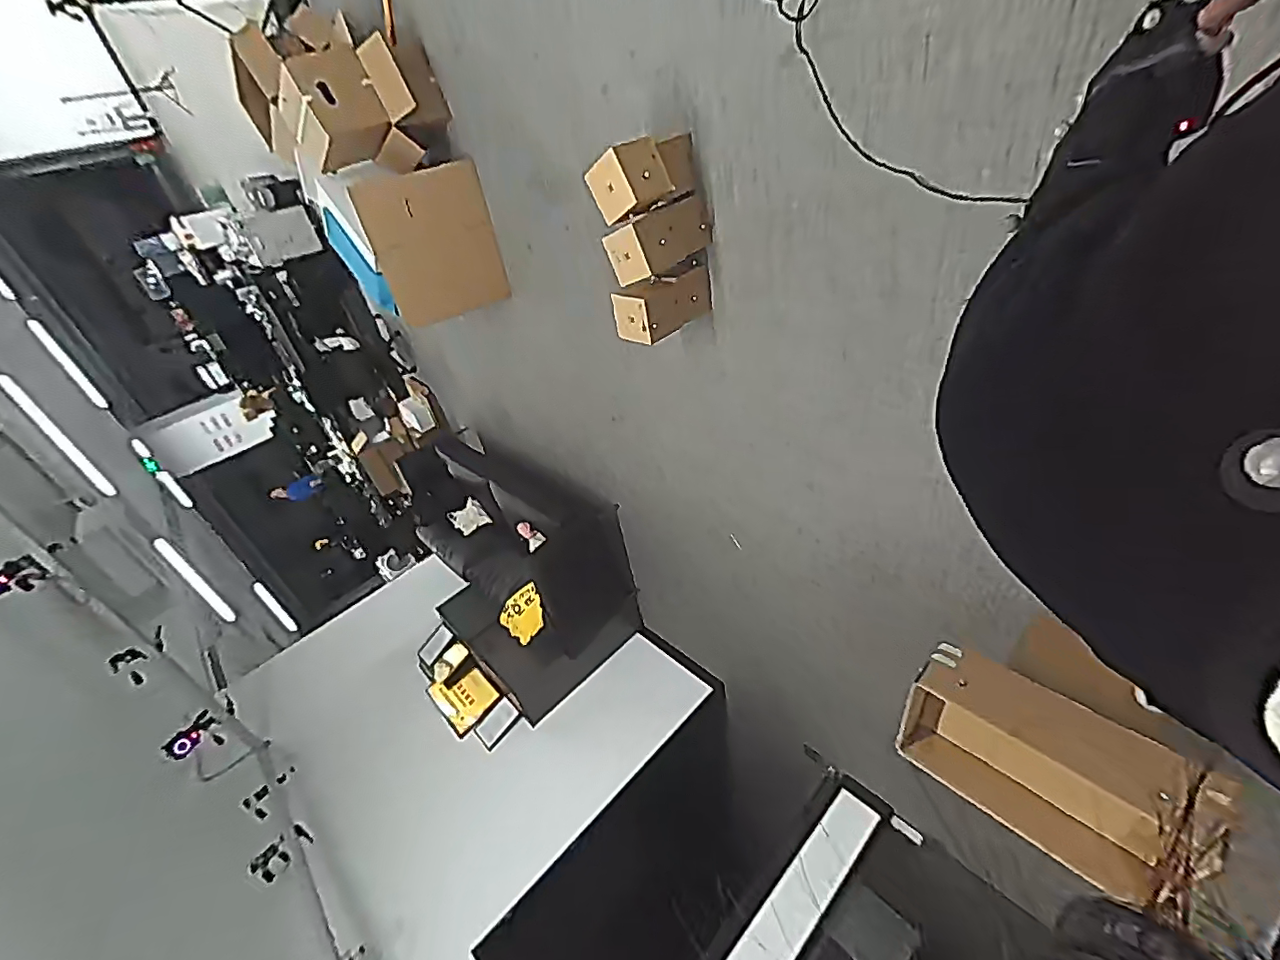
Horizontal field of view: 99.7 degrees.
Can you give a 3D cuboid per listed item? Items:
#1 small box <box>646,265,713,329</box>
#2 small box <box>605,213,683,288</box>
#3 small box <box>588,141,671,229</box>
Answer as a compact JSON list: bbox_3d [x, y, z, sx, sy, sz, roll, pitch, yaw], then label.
[{"bbox_3d":[0.150,-0.686,2.006,0.168,0.176,0.179,26,141,42],"label":"small box"},{"bbox_3d":[0.021,-0.757,1.786,0.179,0.176,0.168,8,127,54],"label":"small box"},{"bbox_3d":[-0.025,-0.917,1.679,0.179,0.176,0.168,-4,117,58],"label":"small box"}]
